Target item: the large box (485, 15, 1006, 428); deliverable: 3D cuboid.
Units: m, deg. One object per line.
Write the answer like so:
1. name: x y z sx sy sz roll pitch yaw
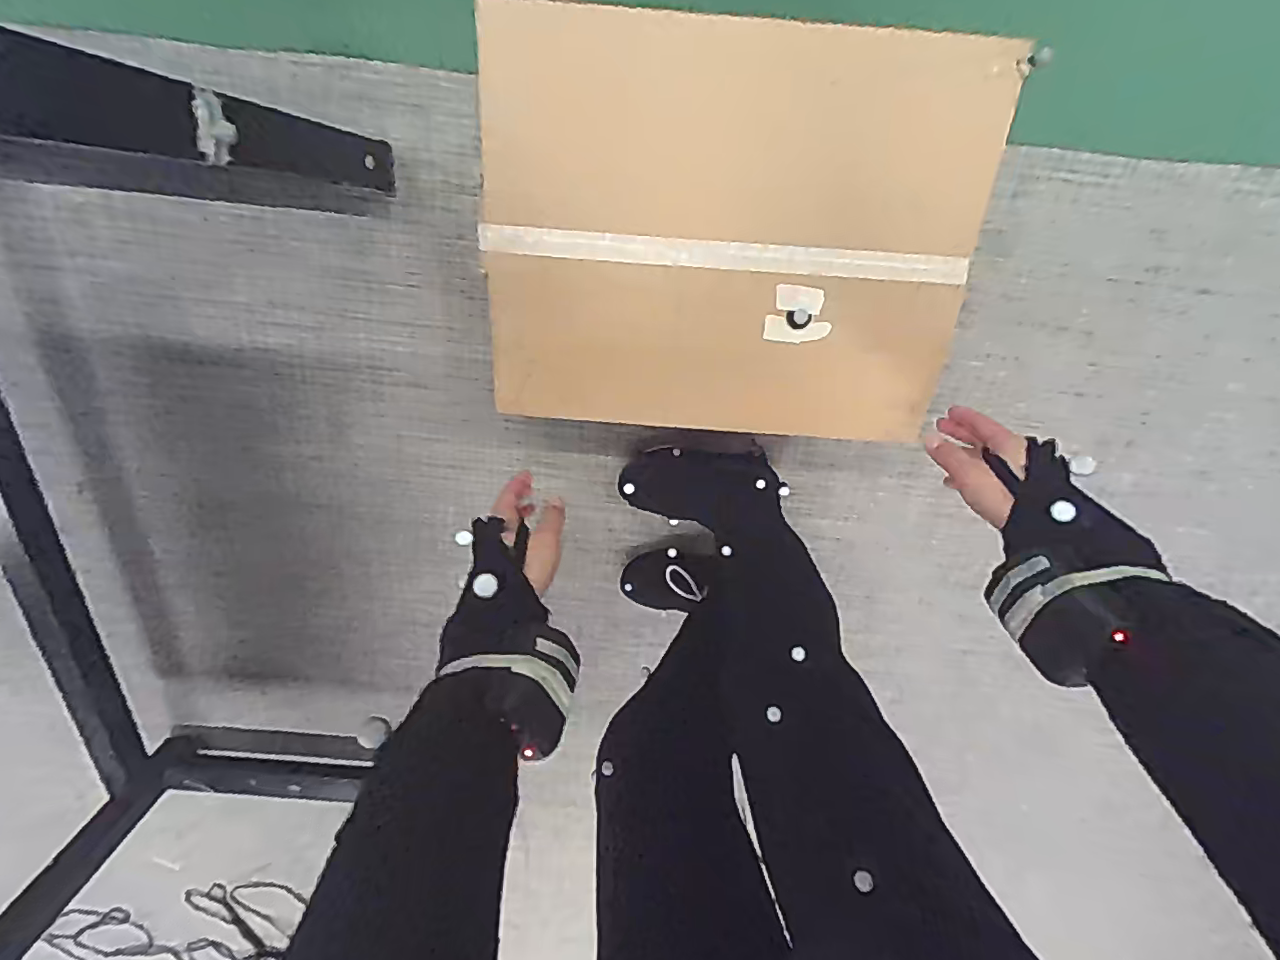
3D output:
1. large box: 0.074 -0.257 0.602 0.408 0.320 0.320 3 114 -1
